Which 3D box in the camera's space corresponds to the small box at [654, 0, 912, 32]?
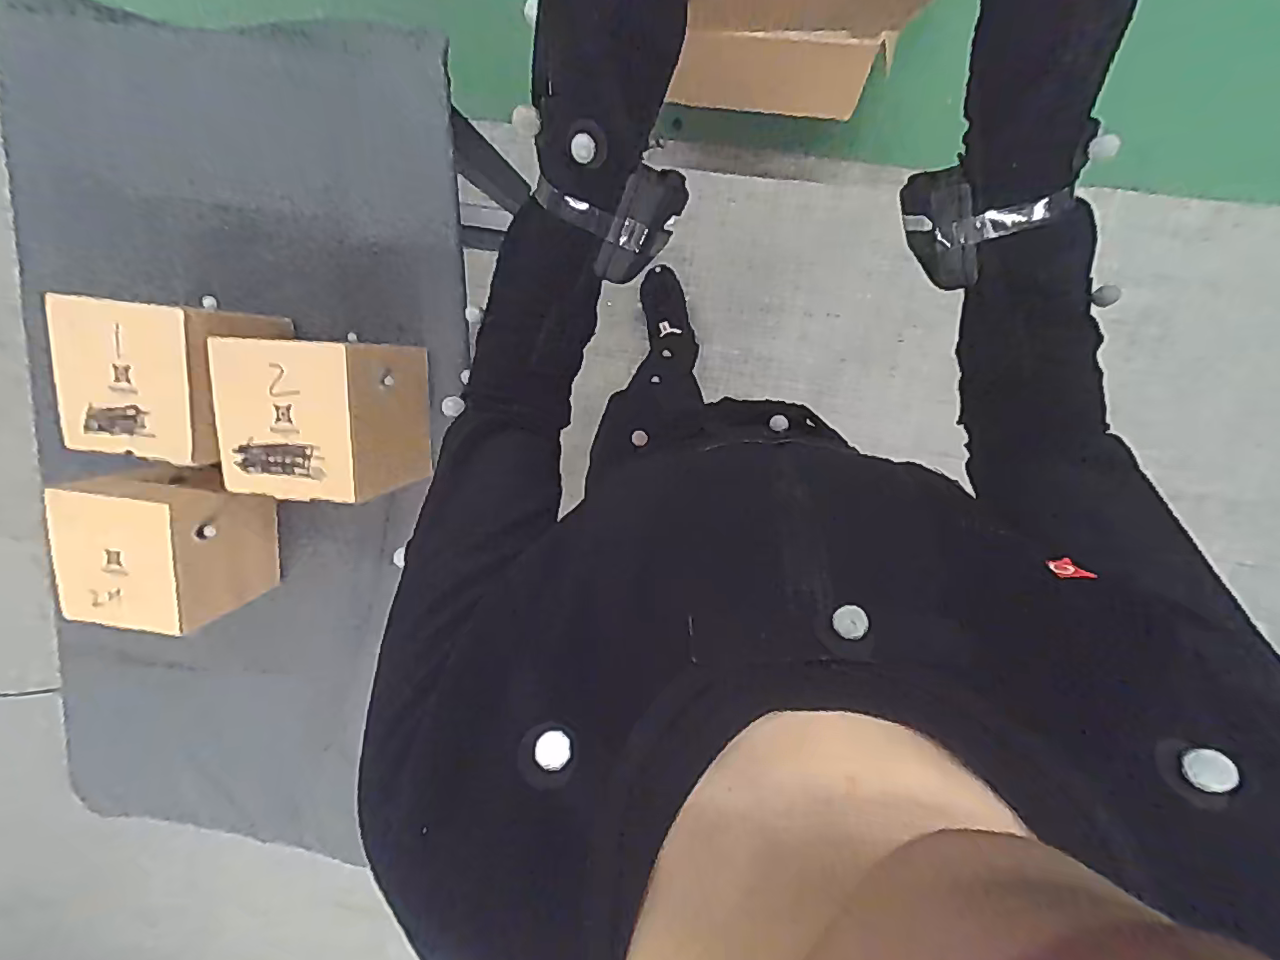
[{"bbox_3d":[0.094,-0.364,0.278,0.179,0.176,0.168,3,111,3],"label":"small box"}]
